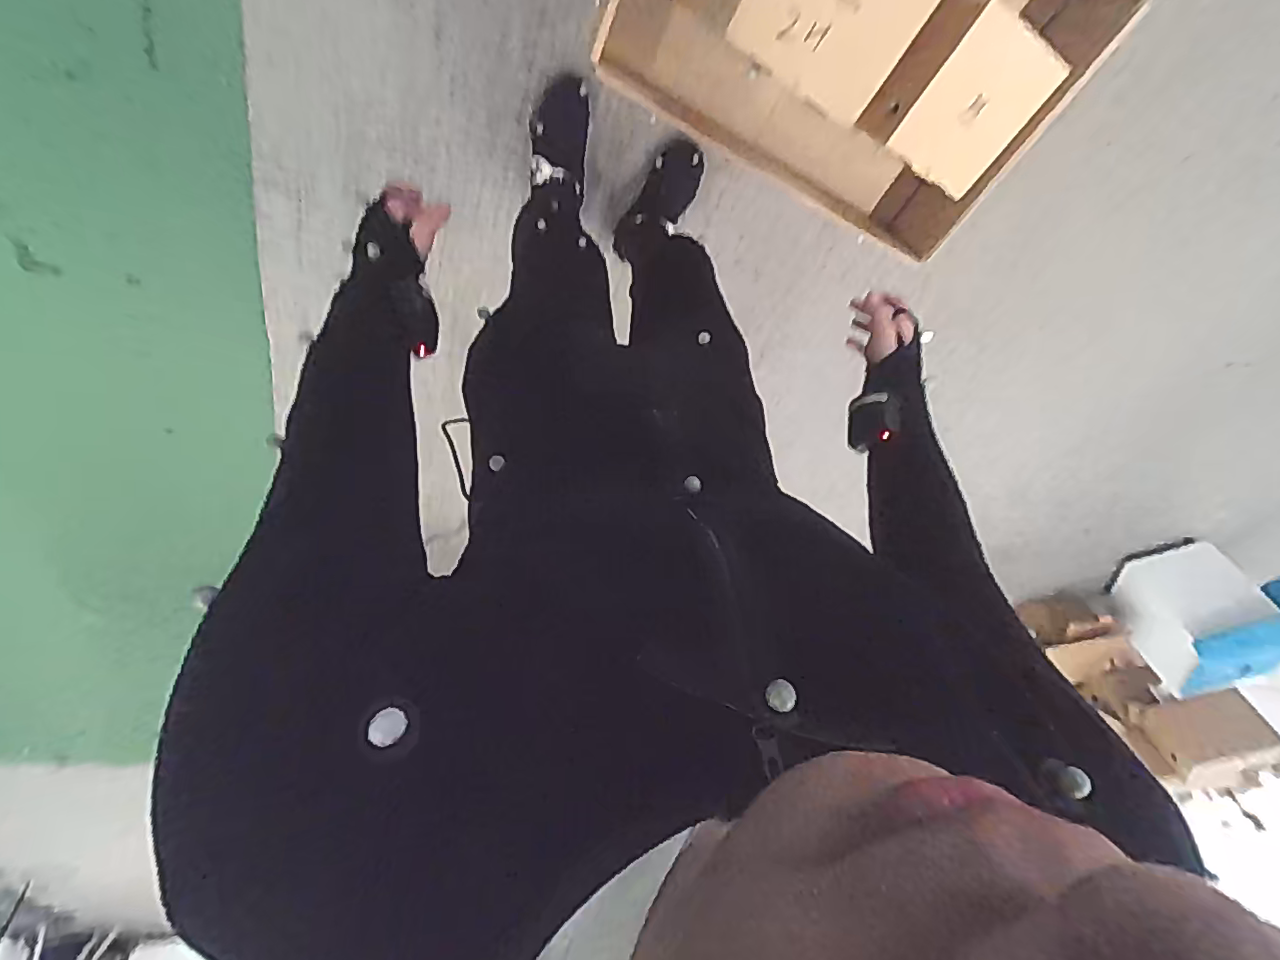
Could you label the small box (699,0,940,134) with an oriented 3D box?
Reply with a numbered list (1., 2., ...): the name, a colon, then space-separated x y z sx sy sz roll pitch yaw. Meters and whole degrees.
1. small box: 0.177 -0.495 0.535 0.168 0.176 0.179 18 131 -24
